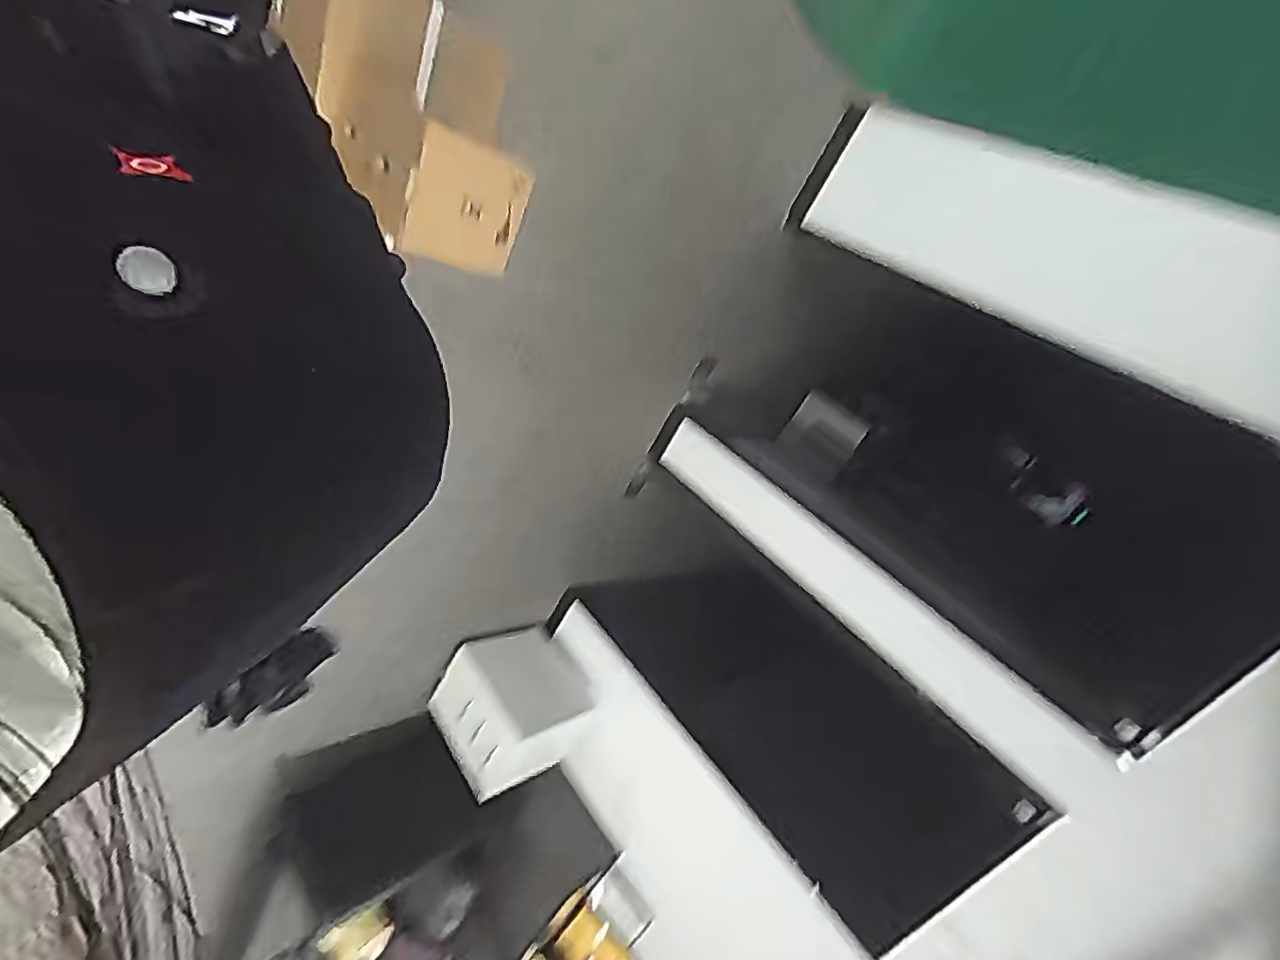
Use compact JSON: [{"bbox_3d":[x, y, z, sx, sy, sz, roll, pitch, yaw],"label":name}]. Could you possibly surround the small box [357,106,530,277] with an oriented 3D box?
[{"bbox_3d":[-0.307,-0.441,0.830,0.179,0.176,0.168,-2,127,-50],"label":"small box"}]
